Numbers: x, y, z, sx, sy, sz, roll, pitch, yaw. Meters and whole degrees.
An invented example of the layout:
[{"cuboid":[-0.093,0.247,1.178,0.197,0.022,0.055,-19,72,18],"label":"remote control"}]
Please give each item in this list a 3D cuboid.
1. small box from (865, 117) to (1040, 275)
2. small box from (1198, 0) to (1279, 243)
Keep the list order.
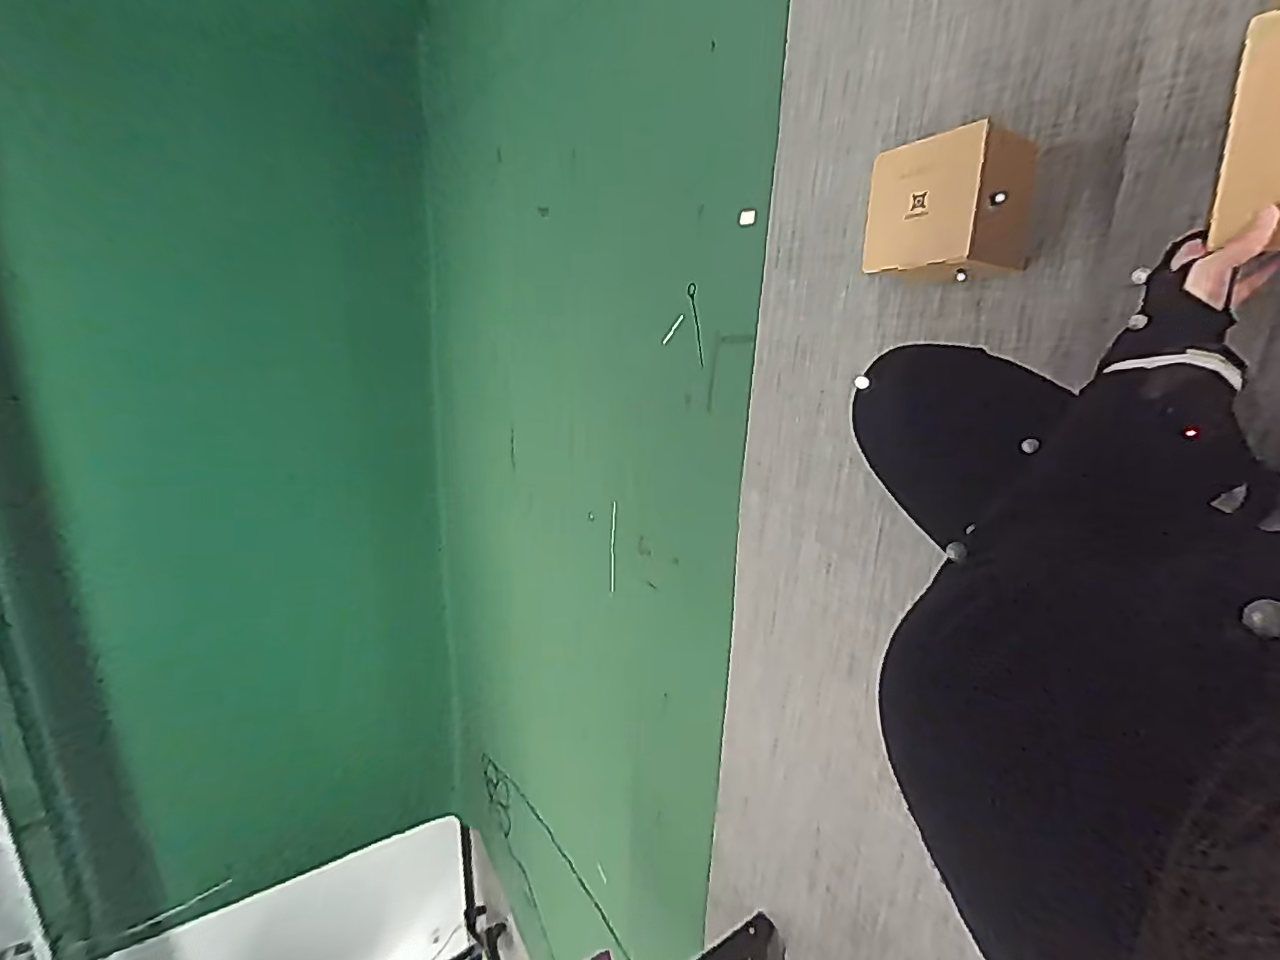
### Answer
[{"cuboid":[0.477,-0.416,0.830,0.168,0.176,0.179,21,113,54],"label":"small box"},{"cuboid":[0.556,-0.282,0.374,0.179,0.176,0.168,31,152,53],"label":"small box"}]
